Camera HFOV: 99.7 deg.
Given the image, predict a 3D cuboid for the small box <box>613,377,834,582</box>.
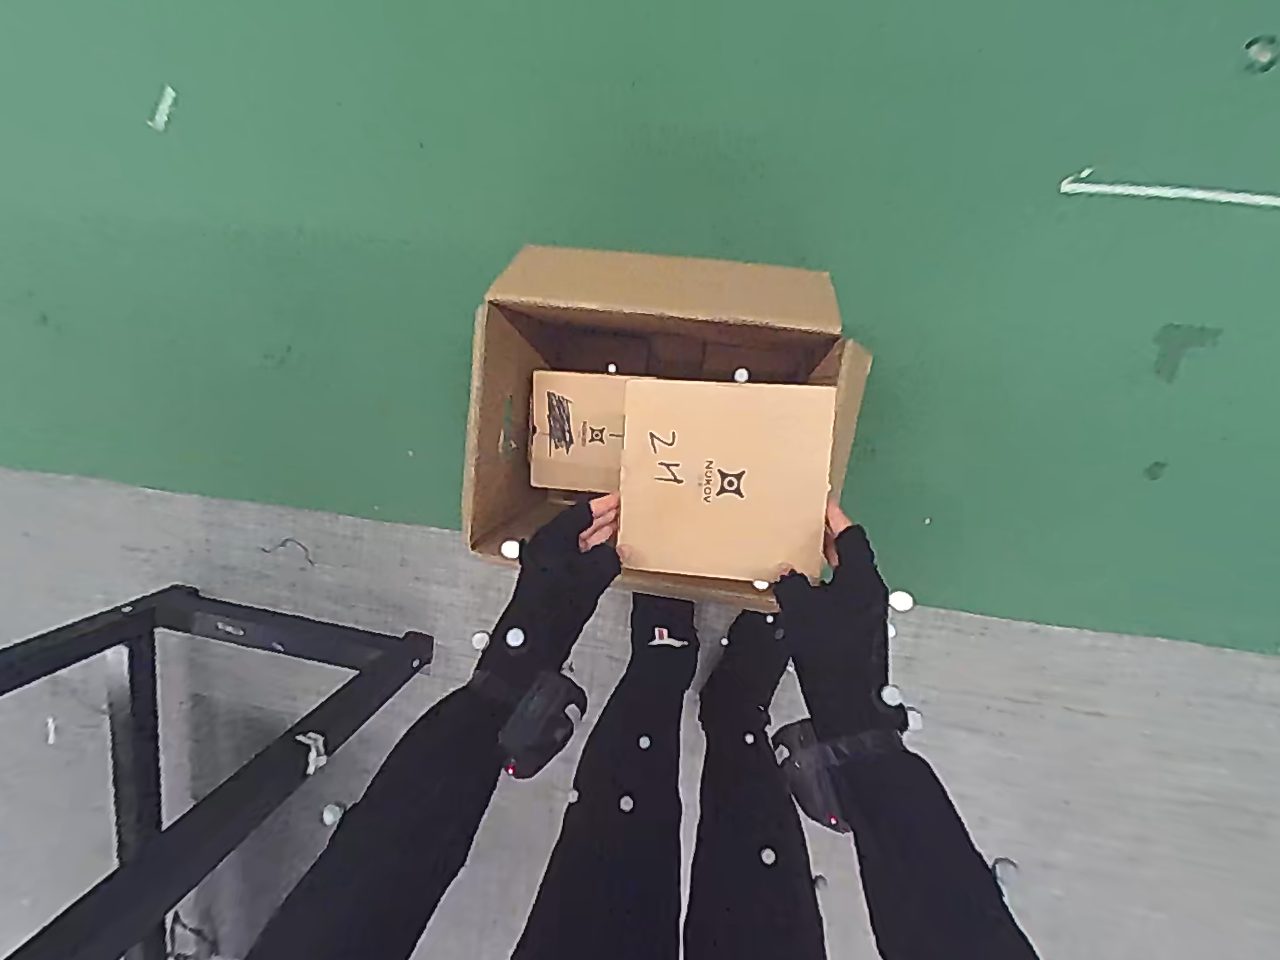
[{"bbox_3d":[0.080,-0.008,0.535,0.179,0.176,0.168,4,95,11],"label":"small box"}]
